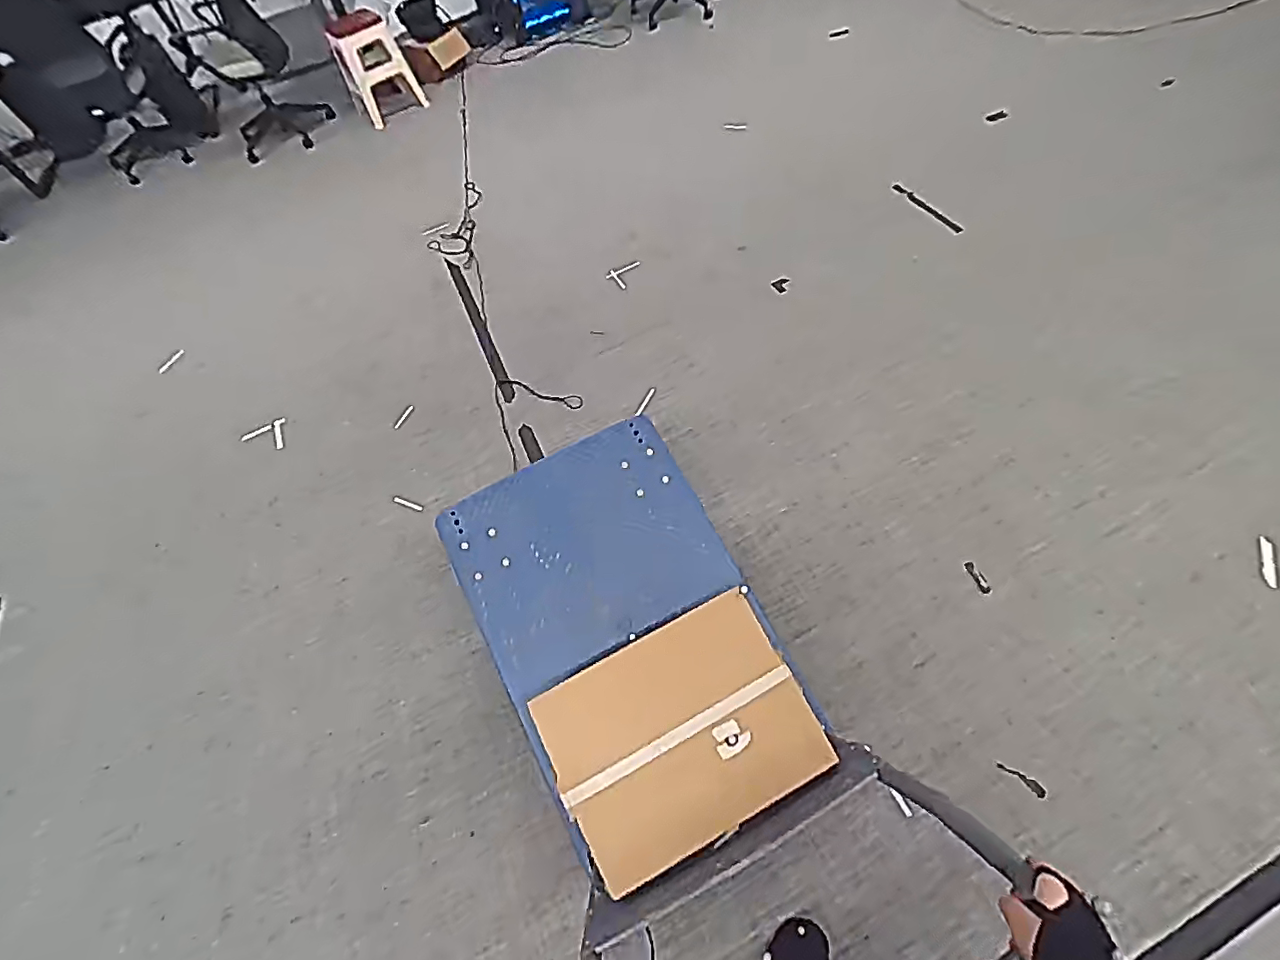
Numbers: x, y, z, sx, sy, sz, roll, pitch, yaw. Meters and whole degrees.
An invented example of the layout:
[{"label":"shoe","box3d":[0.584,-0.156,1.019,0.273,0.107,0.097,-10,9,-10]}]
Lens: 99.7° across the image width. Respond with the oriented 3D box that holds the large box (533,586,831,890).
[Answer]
[{"label":"large box","box3d":[0.065,0.447,1.020,0.408,0.320,0.320,-27,76,-9]}]
